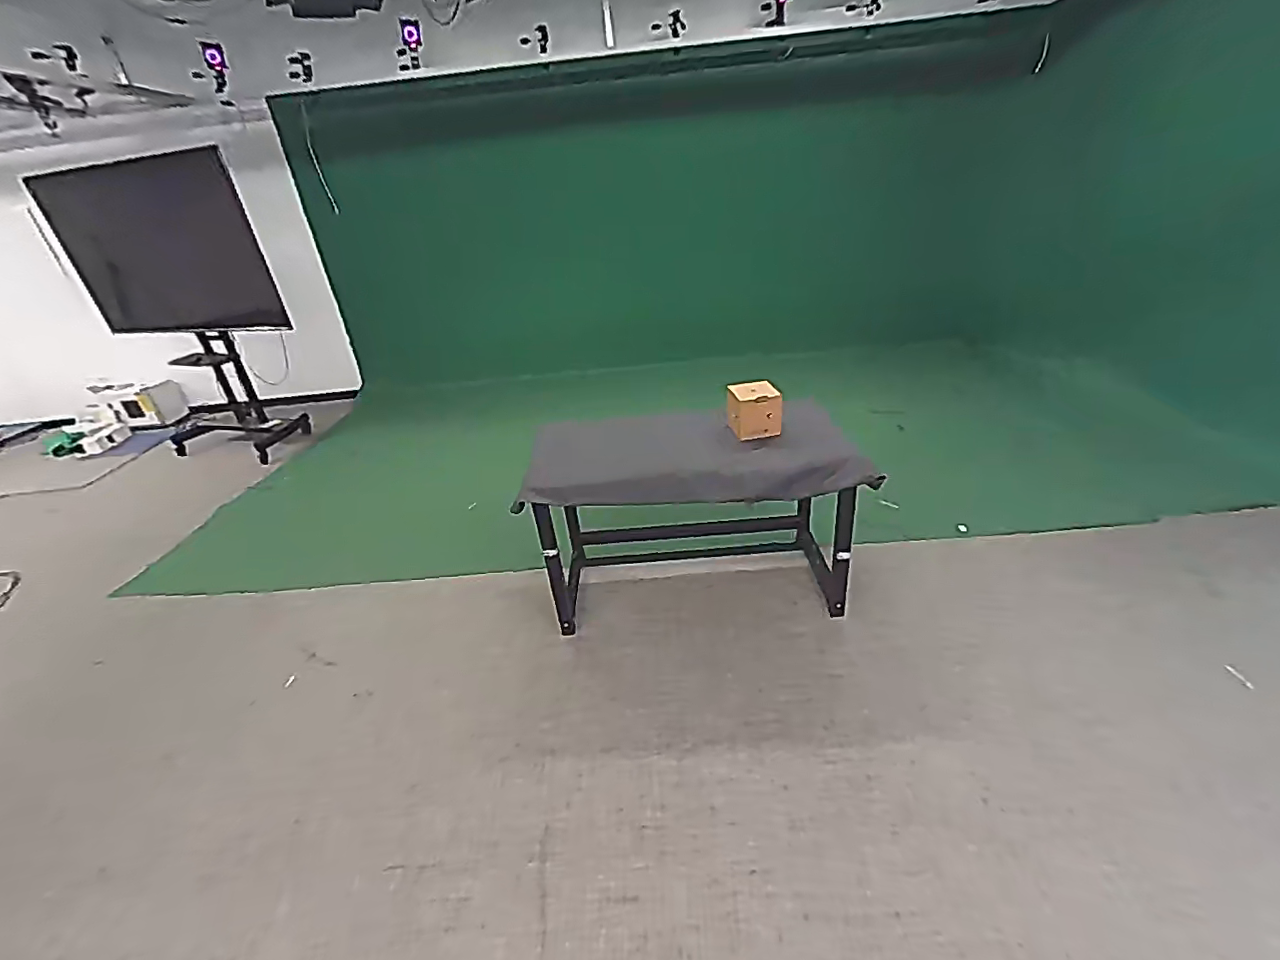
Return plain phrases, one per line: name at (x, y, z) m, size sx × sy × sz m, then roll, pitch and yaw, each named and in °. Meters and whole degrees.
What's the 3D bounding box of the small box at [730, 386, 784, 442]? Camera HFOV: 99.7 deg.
small box at (0.459, -0.256, 2.134) m, size 0.168 × 0.176 × 0.179 m, roll -7°, pitch 27°, yaw -6°
